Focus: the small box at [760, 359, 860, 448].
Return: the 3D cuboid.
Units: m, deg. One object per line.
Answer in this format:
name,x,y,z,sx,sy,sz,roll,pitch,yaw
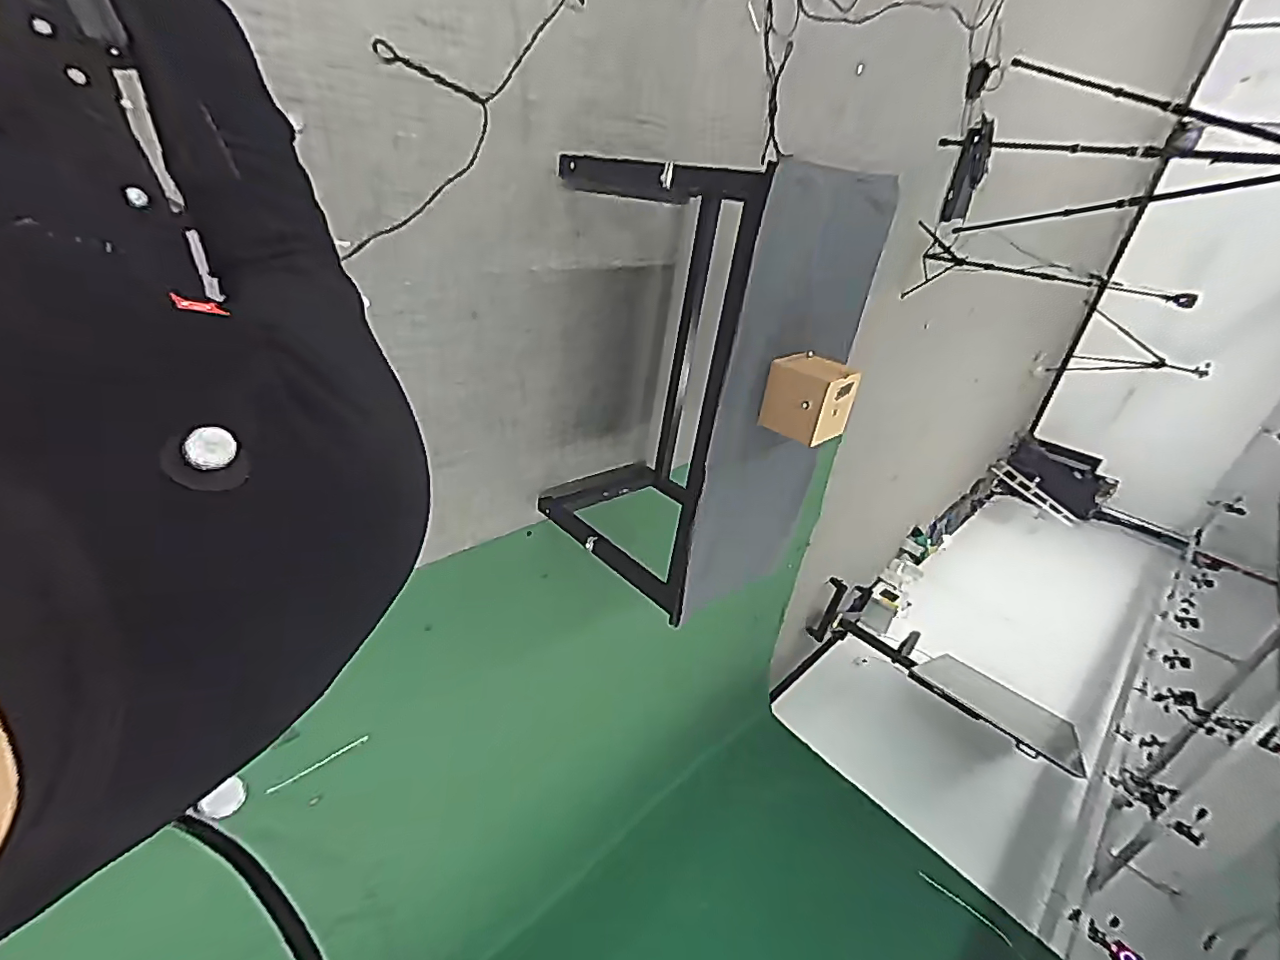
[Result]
small box,0.432,-0.207,1.399,0.168,0.176,0.179,-20,130,-39
